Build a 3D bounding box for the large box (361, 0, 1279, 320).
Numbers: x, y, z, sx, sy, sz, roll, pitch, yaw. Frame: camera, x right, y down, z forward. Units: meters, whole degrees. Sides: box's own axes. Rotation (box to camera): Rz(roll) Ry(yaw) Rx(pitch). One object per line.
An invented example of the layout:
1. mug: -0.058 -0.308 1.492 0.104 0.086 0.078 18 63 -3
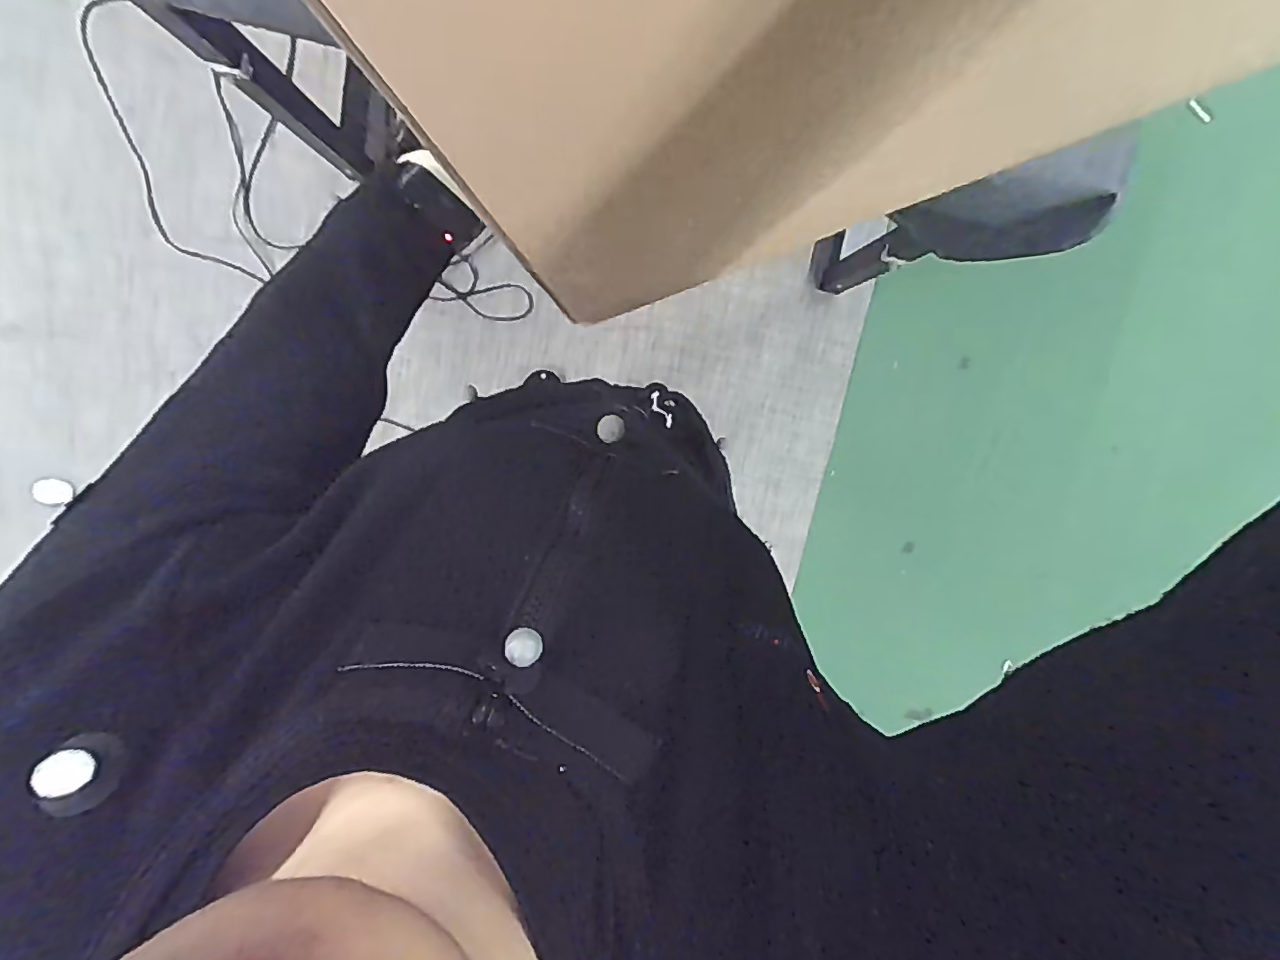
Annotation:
1. large box: 0.079 -0.341 0.234 0.408 0.320 0.320 -19 67 16
